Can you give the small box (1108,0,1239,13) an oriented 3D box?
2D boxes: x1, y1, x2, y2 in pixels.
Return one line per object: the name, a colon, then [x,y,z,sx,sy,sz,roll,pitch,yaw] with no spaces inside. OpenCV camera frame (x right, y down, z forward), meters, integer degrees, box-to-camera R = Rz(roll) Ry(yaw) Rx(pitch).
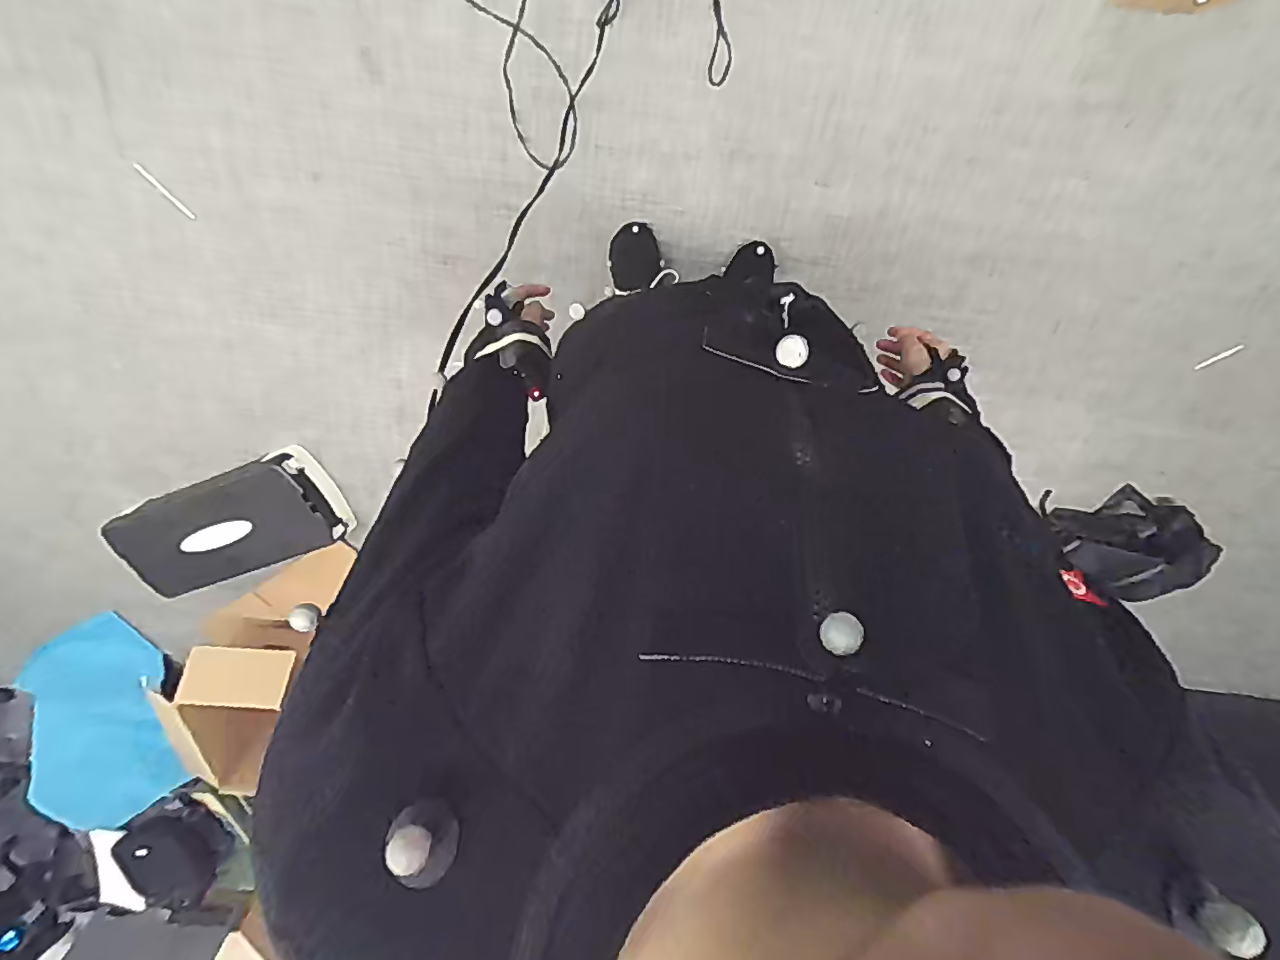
small box: [0.927,-0.880,0.867,0.179,0.176,0.168,5,118,1]
